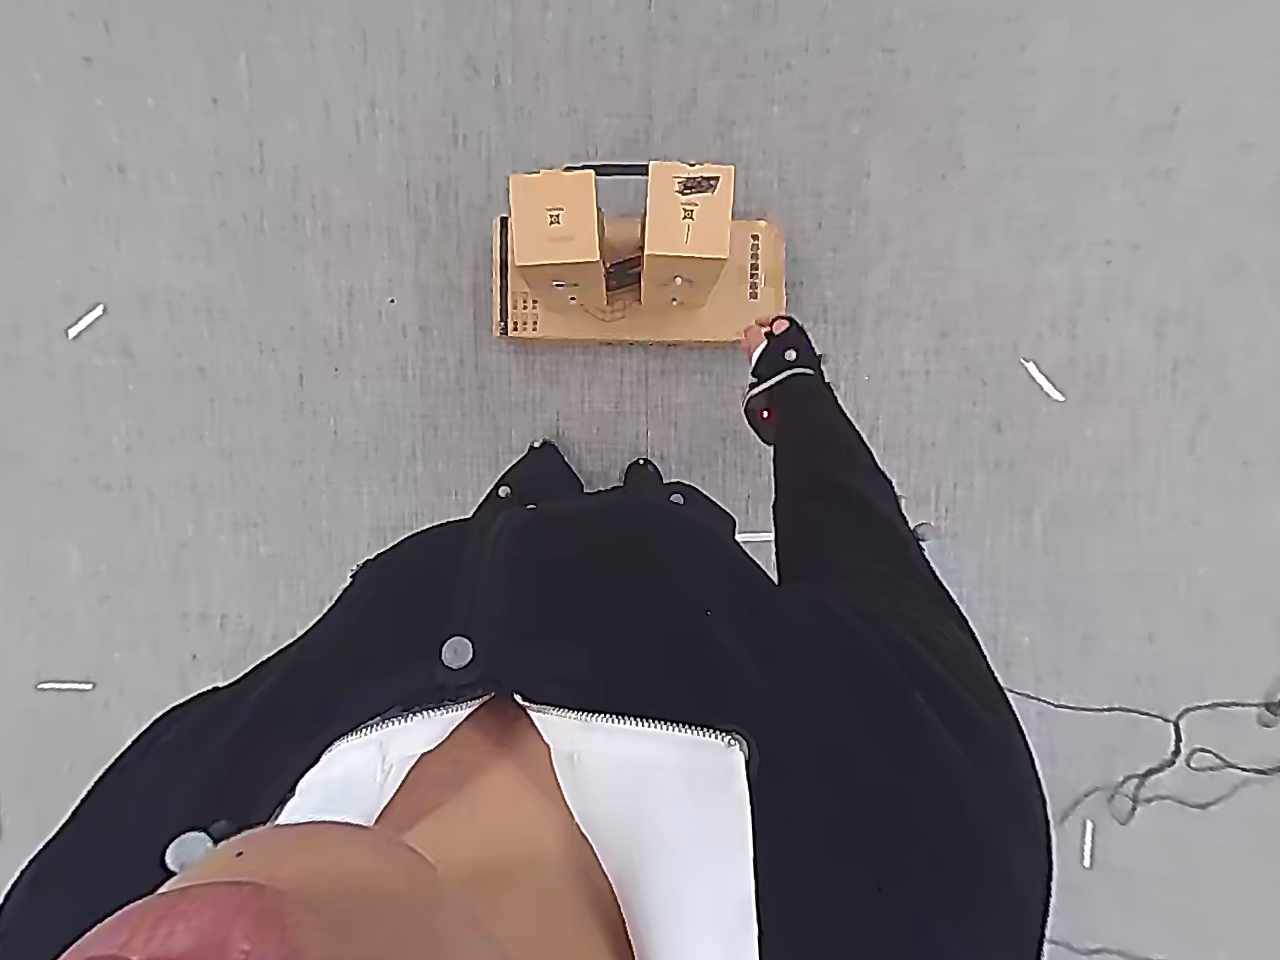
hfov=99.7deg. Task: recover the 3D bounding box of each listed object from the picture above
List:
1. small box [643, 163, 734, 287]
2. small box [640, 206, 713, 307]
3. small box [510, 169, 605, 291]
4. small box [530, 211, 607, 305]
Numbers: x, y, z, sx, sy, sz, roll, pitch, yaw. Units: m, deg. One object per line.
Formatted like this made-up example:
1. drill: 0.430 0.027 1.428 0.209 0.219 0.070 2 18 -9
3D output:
1. small box: 0.093 -0.517 1.114 0.168 0.176 0.179 4 93 0
2. small box: 0.083 -0.523 1.278 0.168 0.176 0.179 0 93 0
3. small box: -0.163 -0.506 1.112 0.168 0.176 0.179 -4 93 0
4. small box: -0.165 -0.517 1.276 0.168 0.176 0.179 -2 93 0
